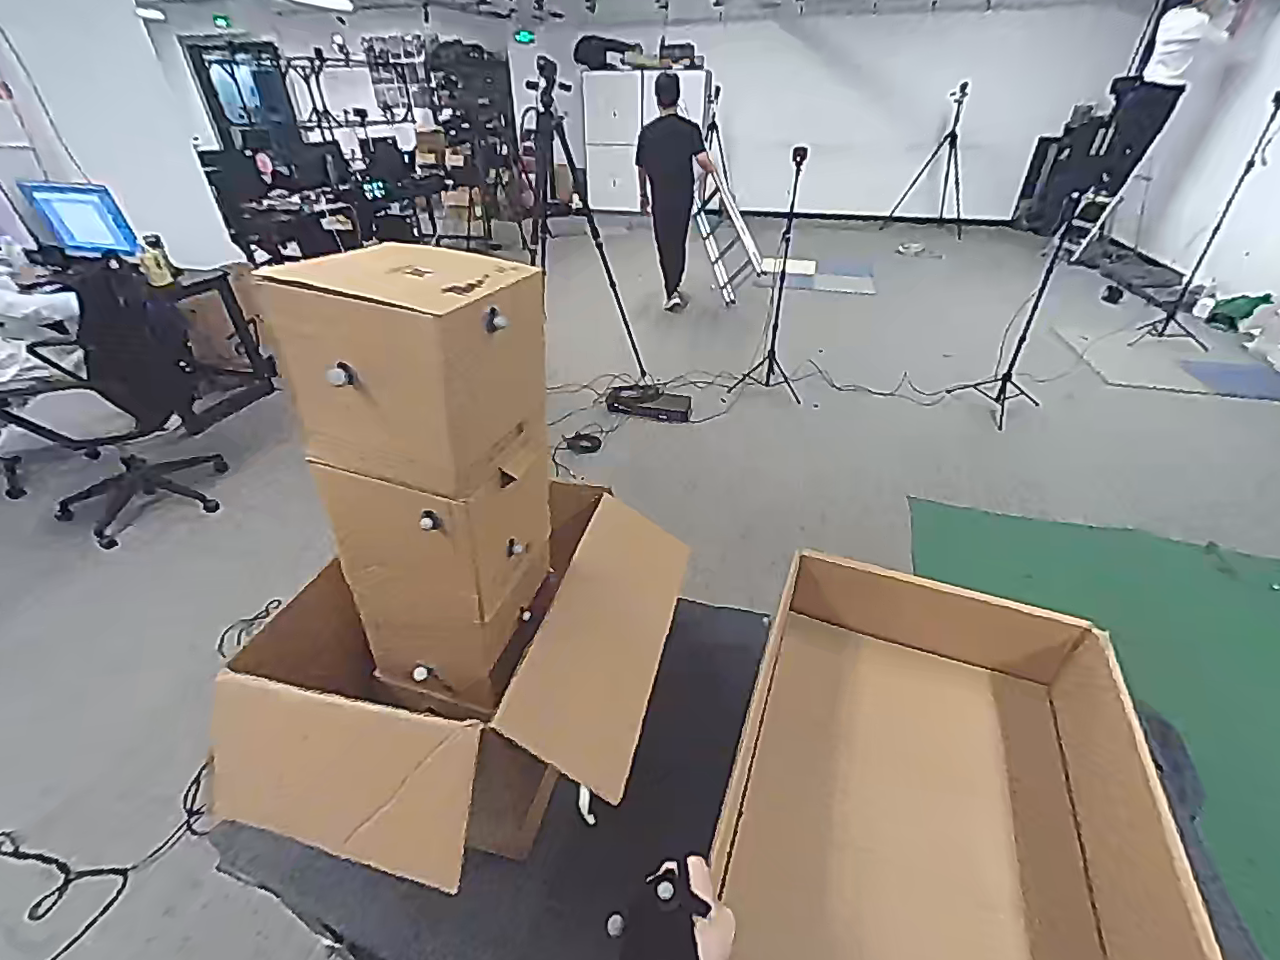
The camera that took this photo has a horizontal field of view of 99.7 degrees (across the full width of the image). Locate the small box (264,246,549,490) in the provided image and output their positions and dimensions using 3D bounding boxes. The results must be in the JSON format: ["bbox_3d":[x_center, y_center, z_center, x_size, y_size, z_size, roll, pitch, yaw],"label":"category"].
[{"bbox_3d":[-0.201,-0.111,0.517,0.179,0.176,0.168,15,36,12],"label":"small box"}]

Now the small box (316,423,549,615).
[{"bbox_3d":[-0.215,0.025,0.609,0.179,0.176,0.168,14,36,11],"label":"small box"}]
